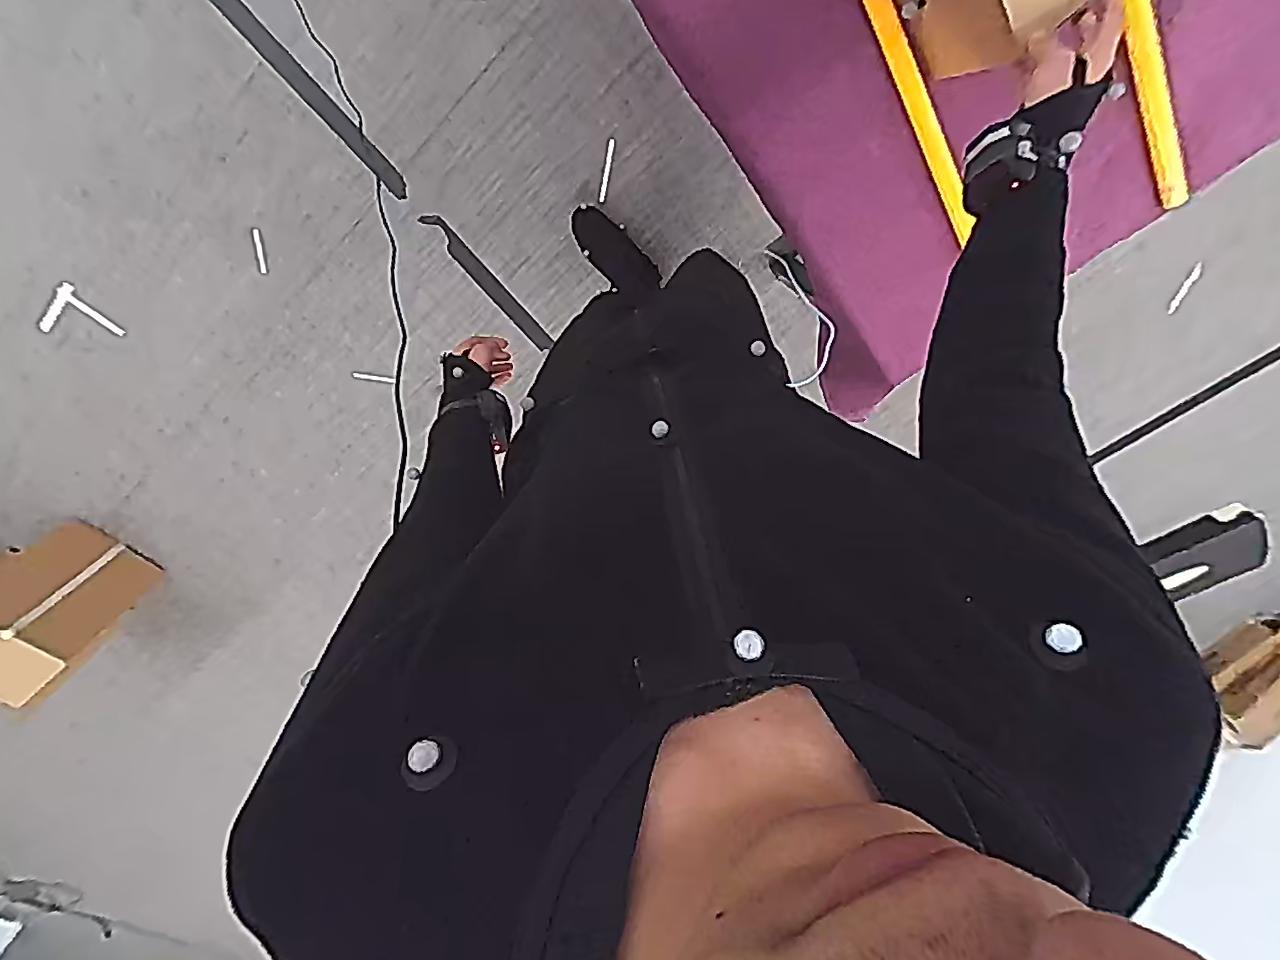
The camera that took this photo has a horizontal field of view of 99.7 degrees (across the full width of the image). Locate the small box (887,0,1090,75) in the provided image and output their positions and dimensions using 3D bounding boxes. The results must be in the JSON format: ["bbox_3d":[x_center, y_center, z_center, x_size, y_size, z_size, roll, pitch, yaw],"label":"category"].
[{"bbox_3d":[0.360,-0.545,0.538,0.168,0.176,0.179,-37,117,18],"label":"small box"}]
